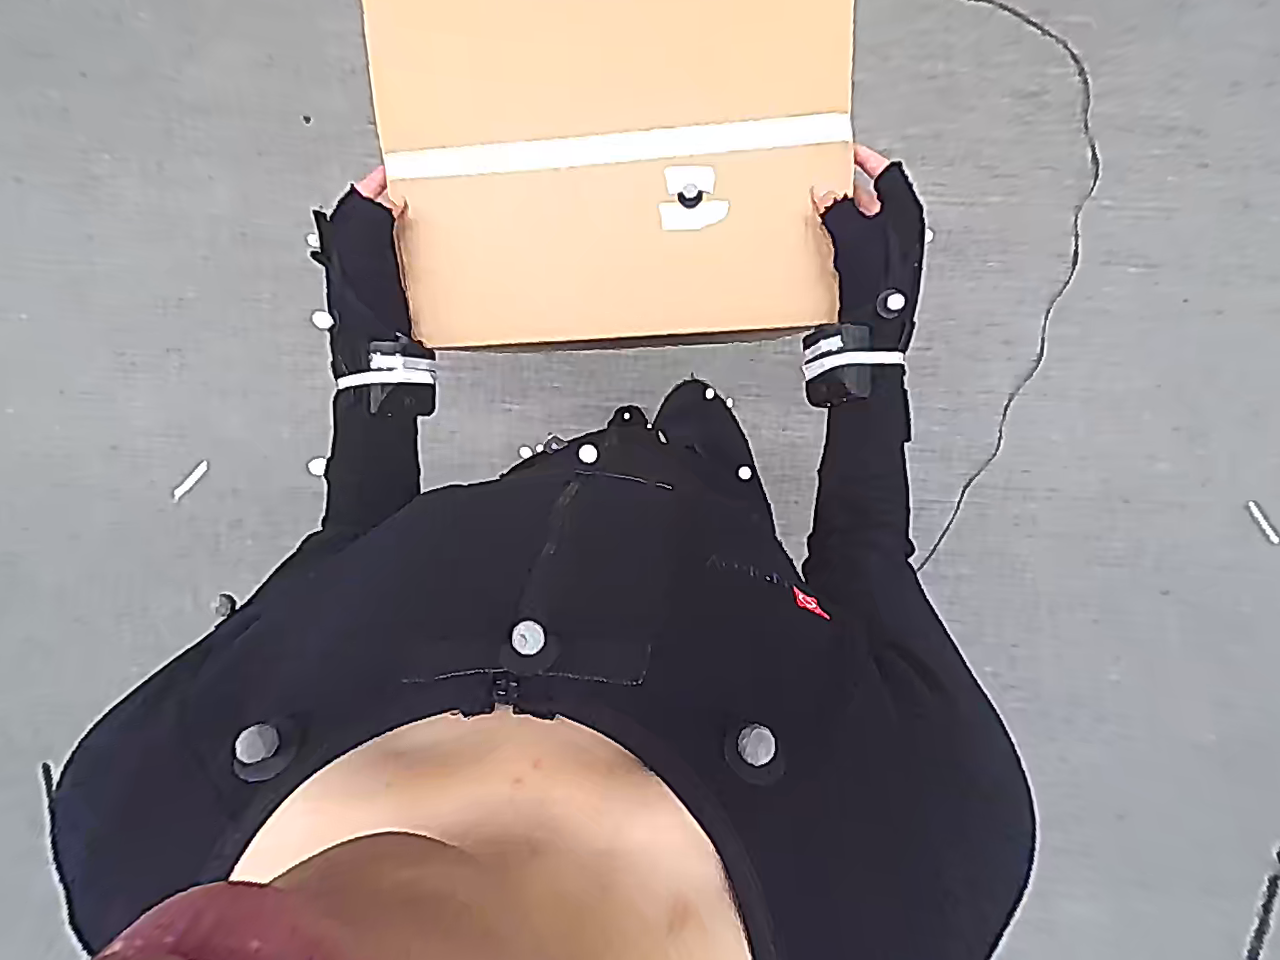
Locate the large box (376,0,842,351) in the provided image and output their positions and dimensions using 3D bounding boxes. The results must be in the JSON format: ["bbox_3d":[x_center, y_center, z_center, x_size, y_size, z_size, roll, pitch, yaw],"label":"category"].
[{"bbox_3d":[-0.017,-0.326,0.626,0.408,0.320,0.320,-2,102,4],"label":"large box"}]
